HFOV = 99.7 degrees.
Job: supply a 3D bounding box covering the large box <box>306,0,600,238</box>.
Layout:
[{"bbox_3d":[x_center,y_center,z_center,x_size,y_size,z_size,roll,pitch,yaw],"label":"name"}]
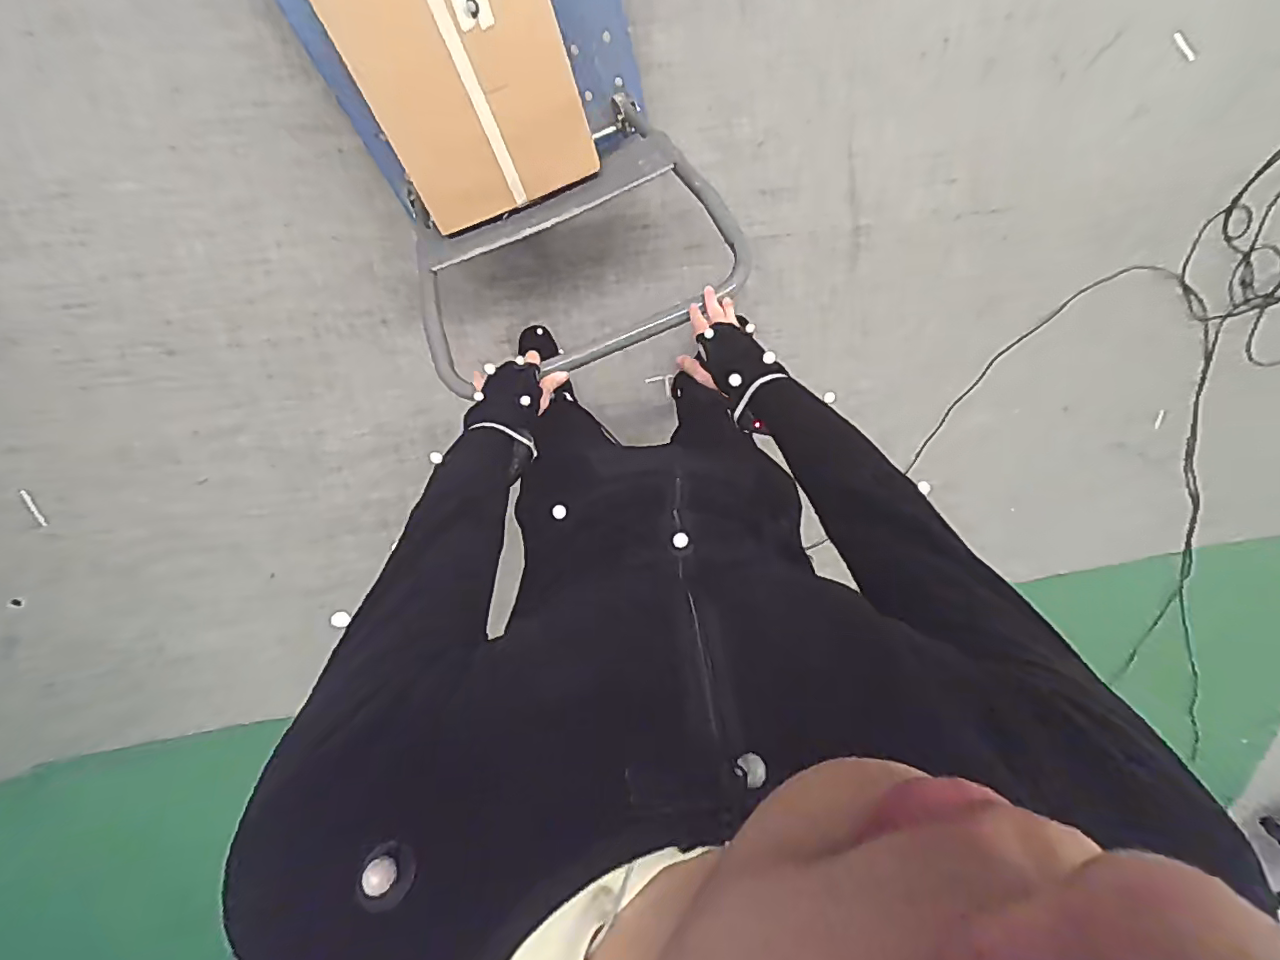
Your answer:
[{"bbox_3d":[-0.304,-0.717,0.935,0.320,0.320,0.408,-23,137,1],"label":"large box"}]
